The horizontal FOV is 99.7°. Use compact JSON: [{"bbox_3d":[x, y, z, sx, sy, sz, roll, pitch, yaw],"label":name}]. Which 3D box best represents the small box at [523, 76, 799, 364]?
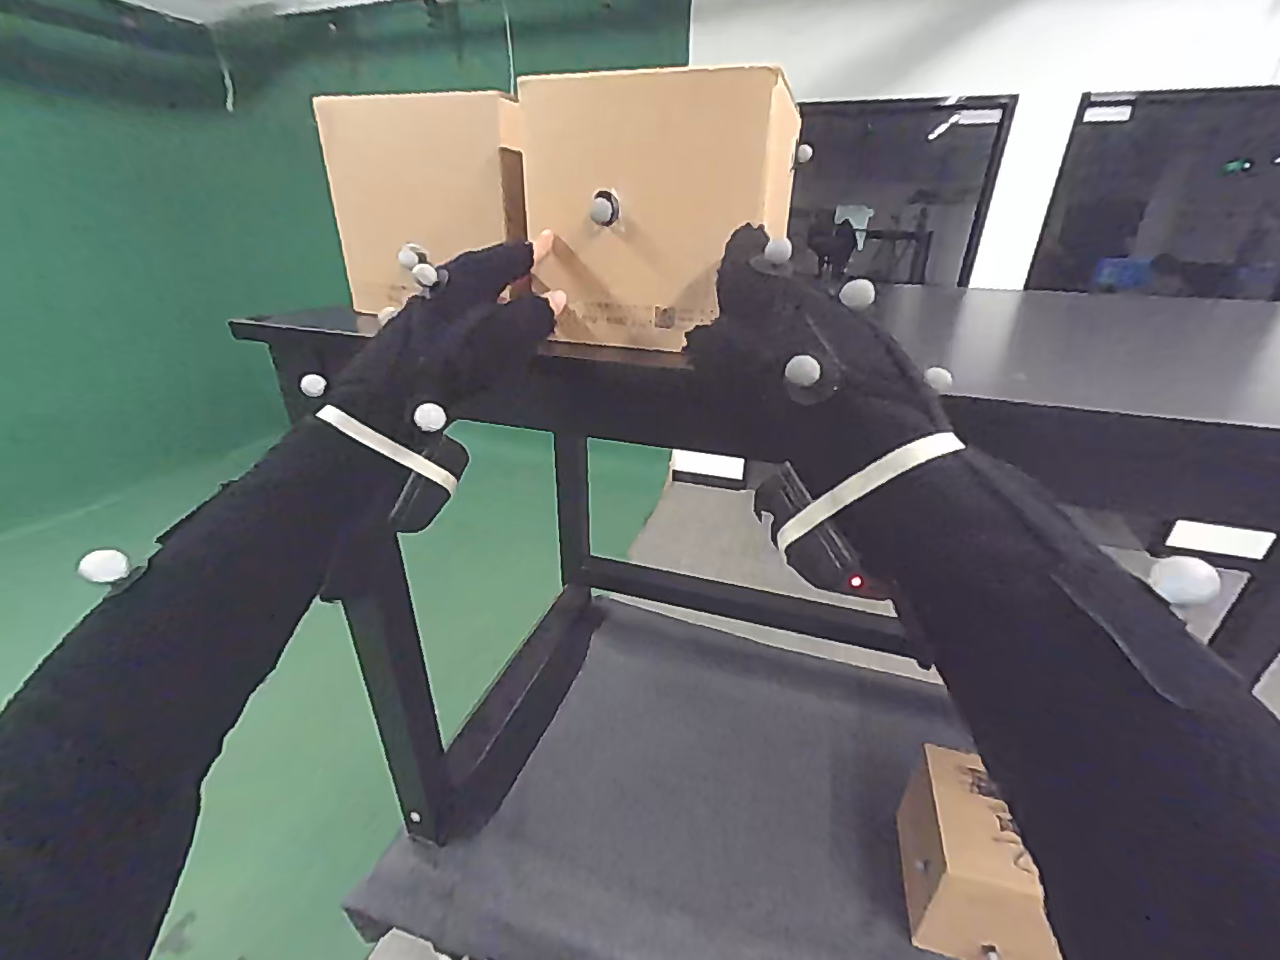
[{"bbox_3d":[0.028,-0.196,0.432,0.168,0.176,0.179,9,27,16],"label":"small box"}]

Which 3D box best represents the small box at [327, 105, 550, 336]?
[{"bbox_3d":[-0.153,-0.245,0.519,0.168,0.176,0.179,9,28,15],"label":"small box"}]
